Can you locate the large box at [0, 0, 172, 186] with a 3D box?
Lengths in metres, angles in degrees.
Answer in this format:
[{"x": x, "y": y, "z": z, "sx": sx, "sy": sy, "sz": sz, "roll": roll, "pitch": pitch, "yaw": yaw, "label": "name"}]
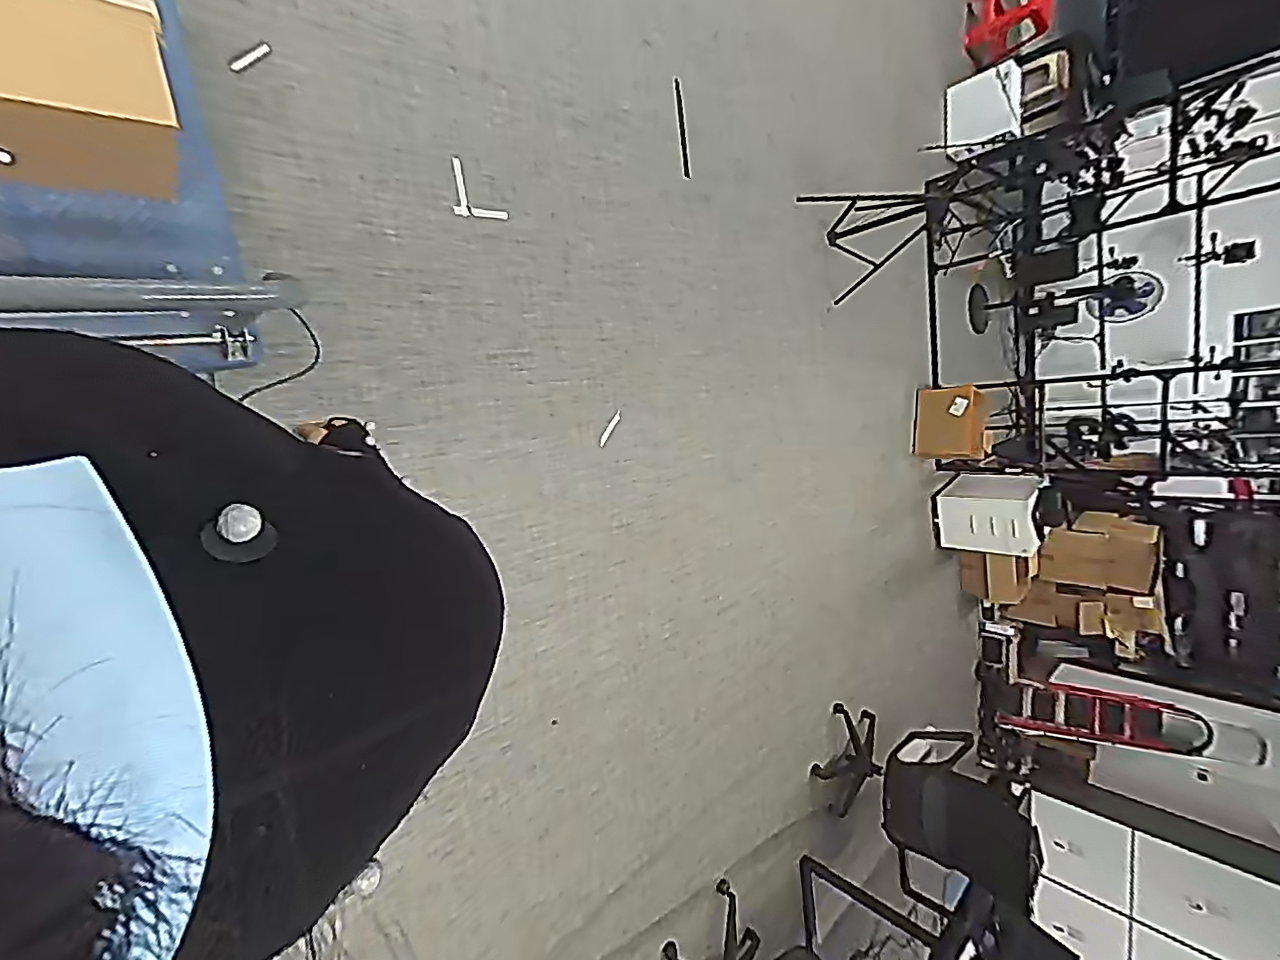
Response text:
[{"x": -0.959, "y": -0.648, "z": 0.759, "sx": 0.408, "sy": 0.320, "sz": 0.320, "roll": -16, "pitch": 102, "yaw": -39, "label": "large box"}]
